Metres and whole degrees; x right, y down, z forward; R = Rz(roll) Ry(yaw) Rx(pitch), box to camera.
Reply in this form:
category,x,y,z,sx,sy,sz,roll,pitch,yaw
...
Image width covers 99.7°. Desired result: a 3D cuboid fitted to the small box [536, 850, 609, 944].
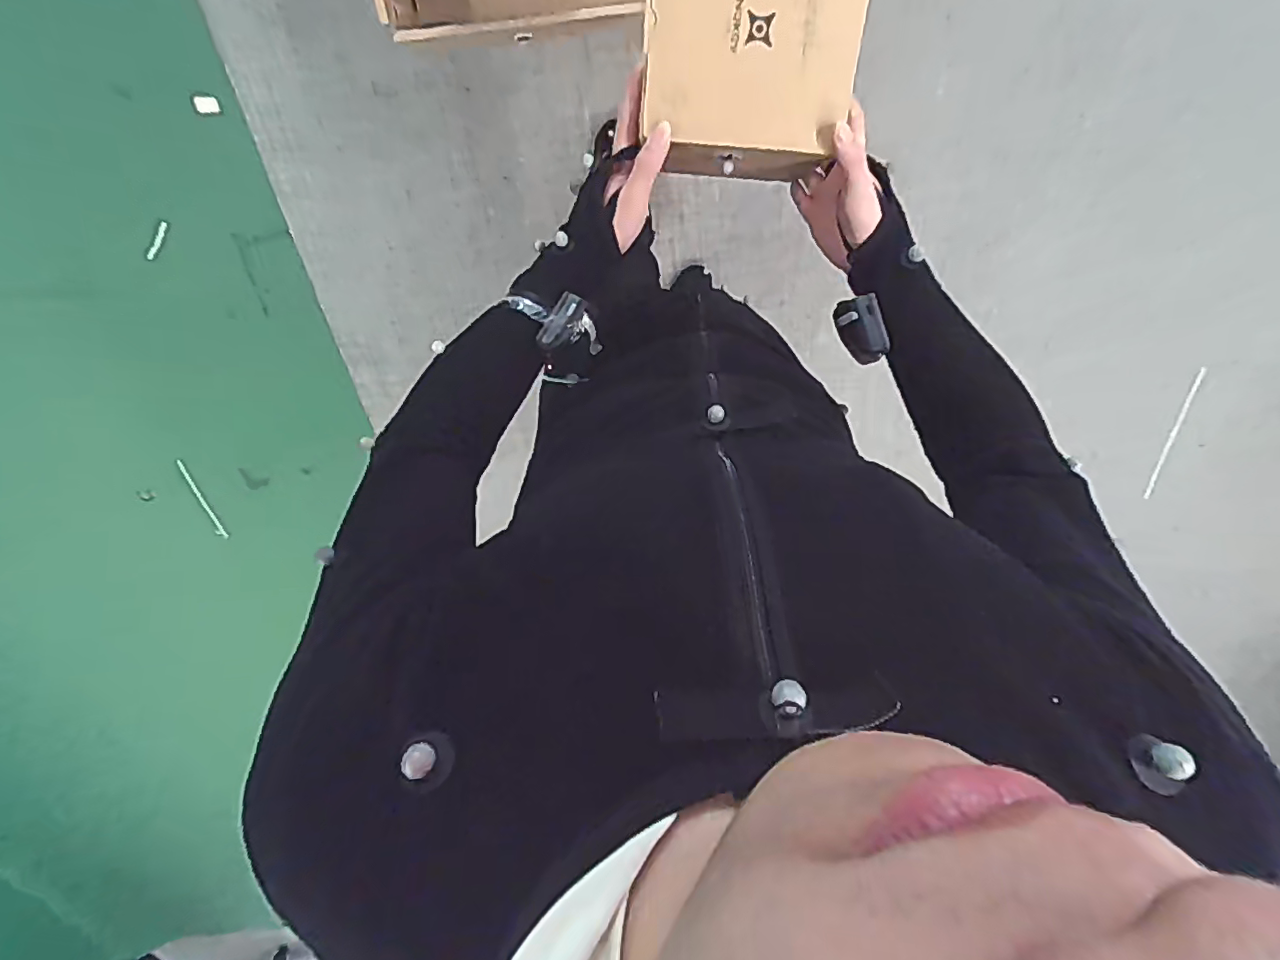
category,x,y,z,sx,sy,sz,roll,pitch,yaw
small box,-0.189,1.206,1.568,0.179,0.176,0.168,-7,122,2

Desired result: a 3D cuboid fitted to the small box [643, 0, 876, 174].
category,x,y,z,sx,sy,sz,roll,pitch,yaw
small box,0.098,-0.391,0.500,0.179,0.176,0.168,5,113,-1
